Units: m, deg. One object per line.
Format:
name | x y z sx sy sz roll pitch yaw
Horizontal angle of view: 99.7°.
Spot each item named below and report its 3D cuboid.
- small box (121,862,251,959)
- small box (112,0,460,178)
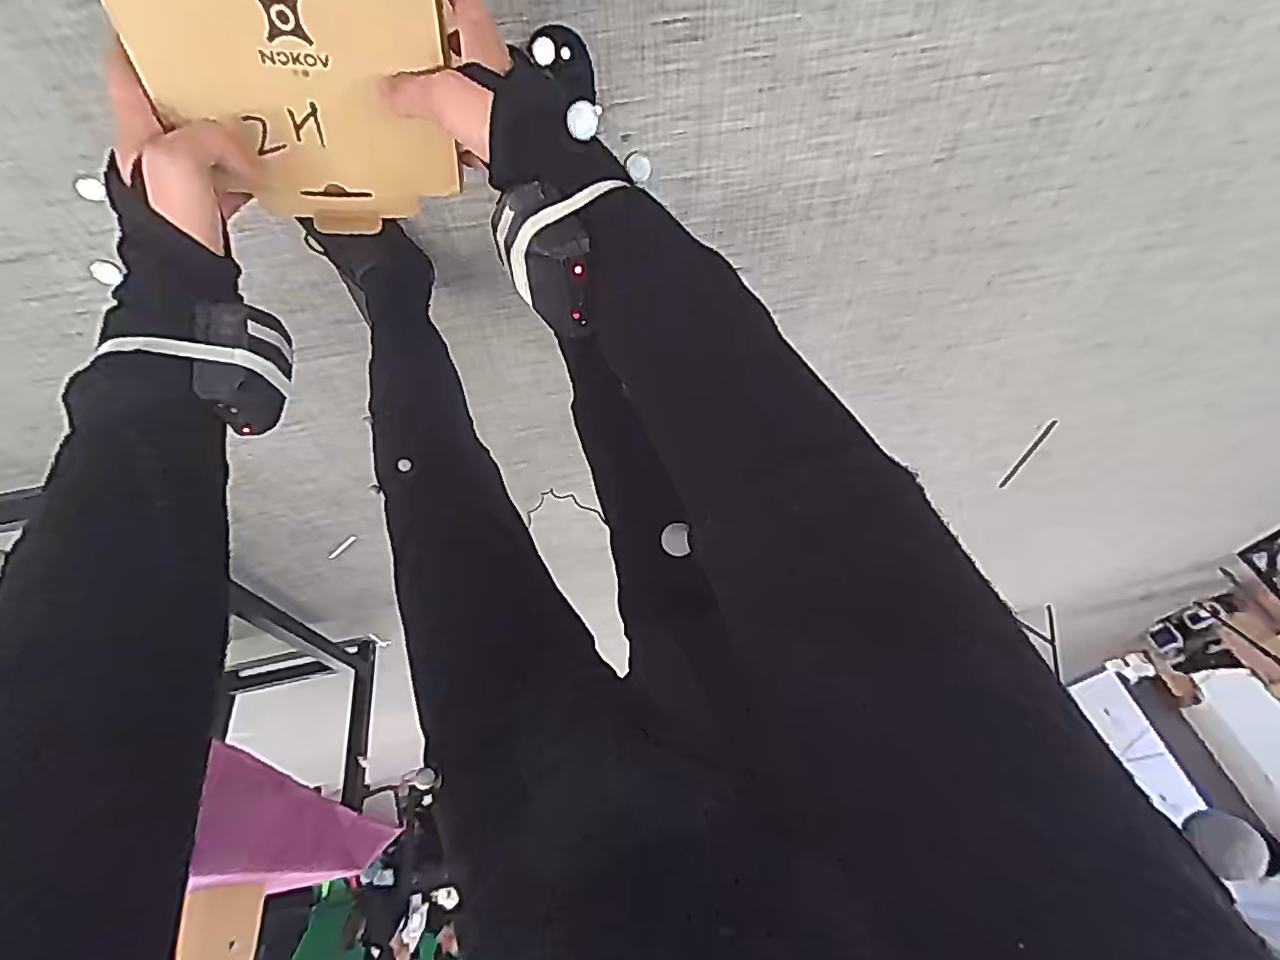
small box | -1.132 1.083 1.366 0.168 0.176 0.179 -16 145 4
small box | -0.209 -0.323 0.339 0.168 0.176 0.179 -4 145 -13
